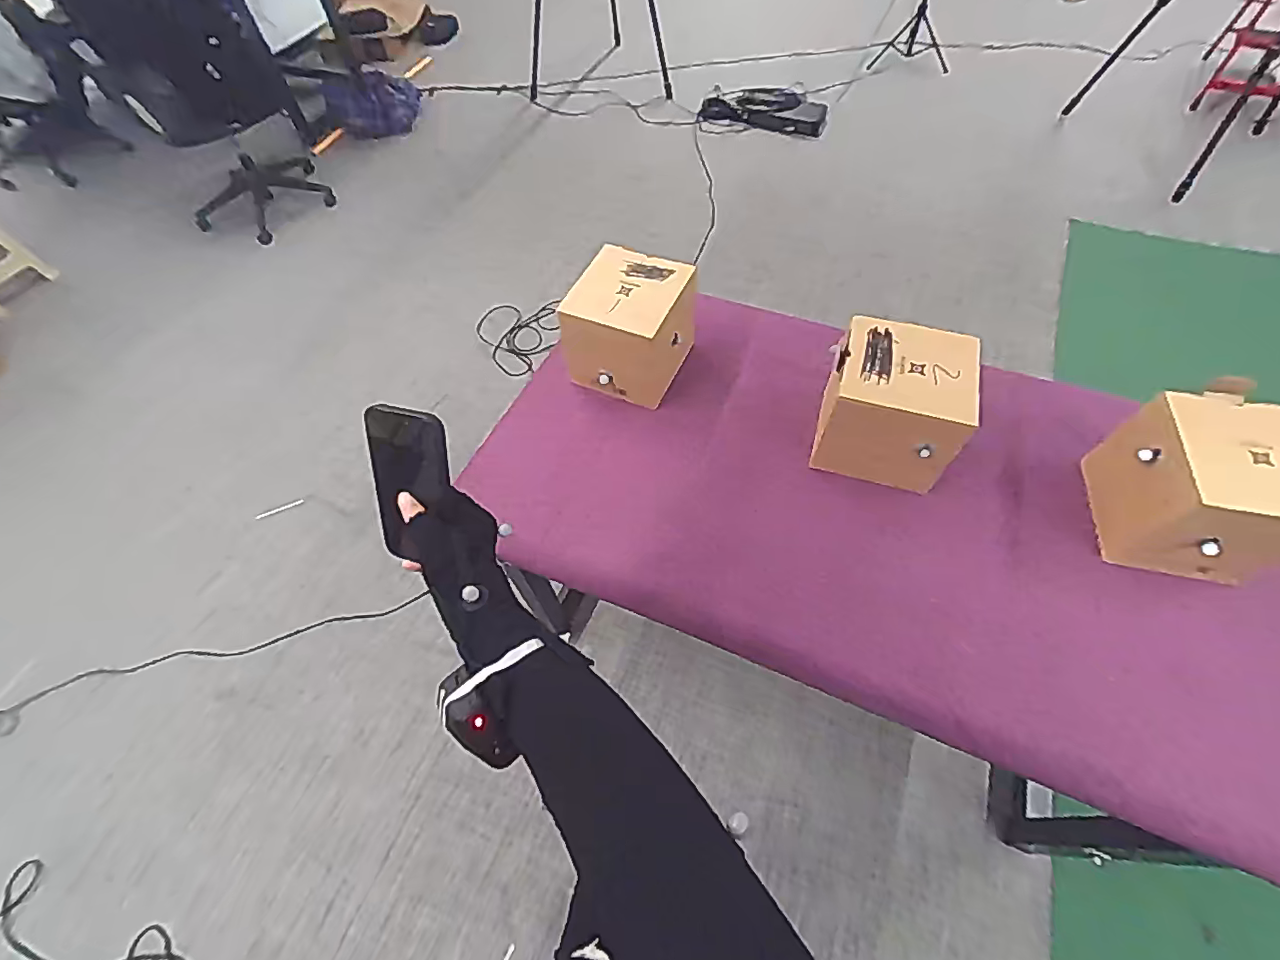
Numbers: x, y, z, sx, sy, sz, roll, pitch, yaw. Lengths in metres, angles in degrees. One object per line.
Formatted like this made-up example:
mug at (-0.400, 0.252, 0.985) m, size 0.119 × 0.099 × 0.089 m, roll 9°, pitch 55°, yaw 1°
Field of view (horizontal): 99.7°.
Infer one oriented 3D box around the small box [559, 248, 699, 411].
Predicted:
small box at (-0.014, -0.250, 0.907) m, size 0.168 × 0.176 × 0.179 m, roll 21°, pitch 62°, yaw 15°

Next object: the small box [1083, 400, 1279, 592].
small box at (0.723, 0.026, 0.698) m, size 0.168 × 0.176 × 0.179 m, roll 10°, pitch 58°, yaw 10°
